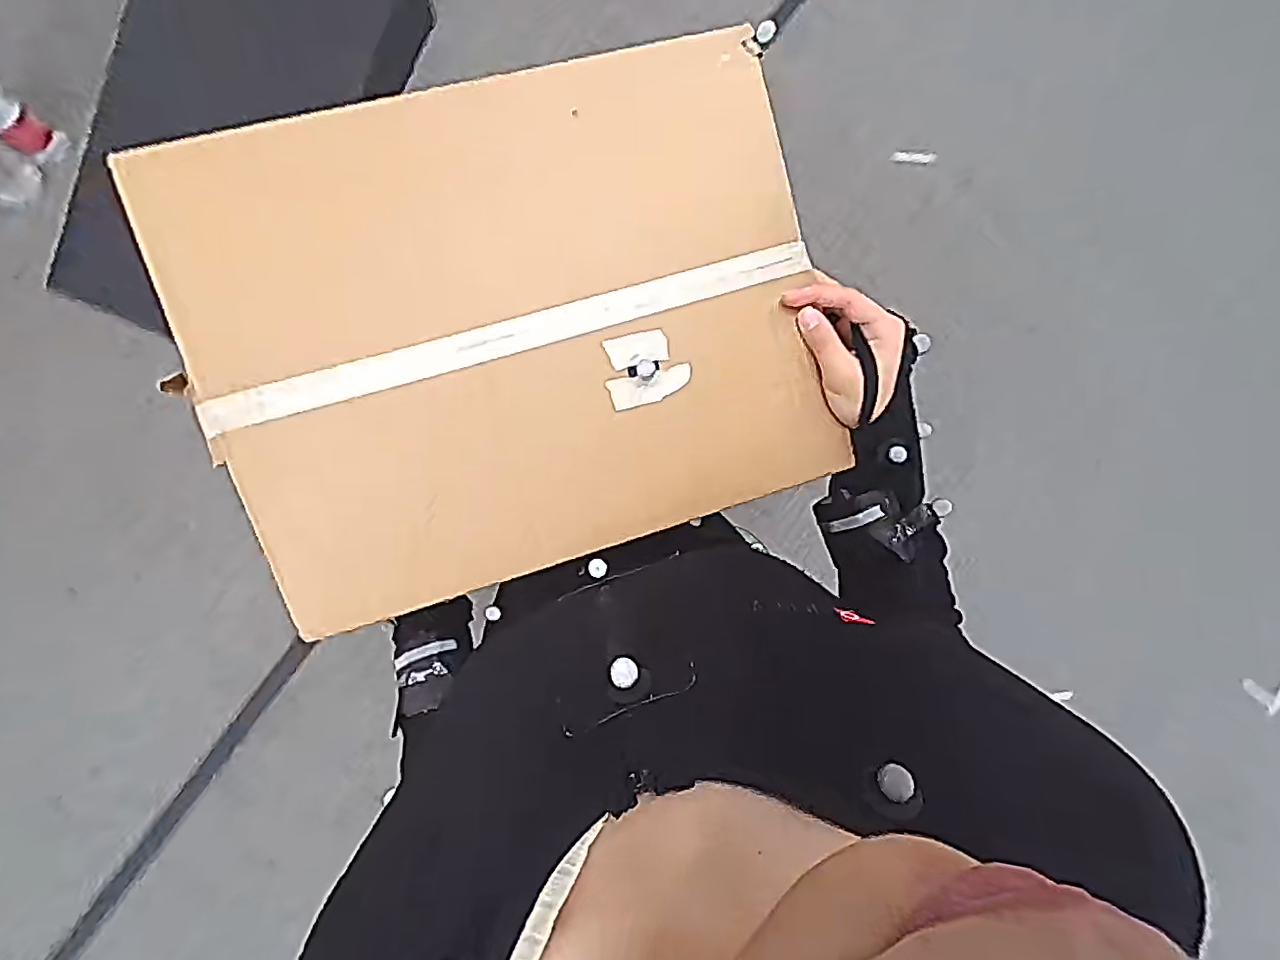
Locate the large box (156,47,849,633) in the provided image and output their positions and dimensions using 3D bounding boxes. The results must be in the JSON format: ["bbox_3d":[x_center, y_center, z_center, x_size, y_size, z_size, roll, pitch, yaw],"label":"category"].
[{"bbox_3d":[-0.092,-0.111,0.517,0.408,0.320,0.320,-17,98,-8],"label":"large box"}]
